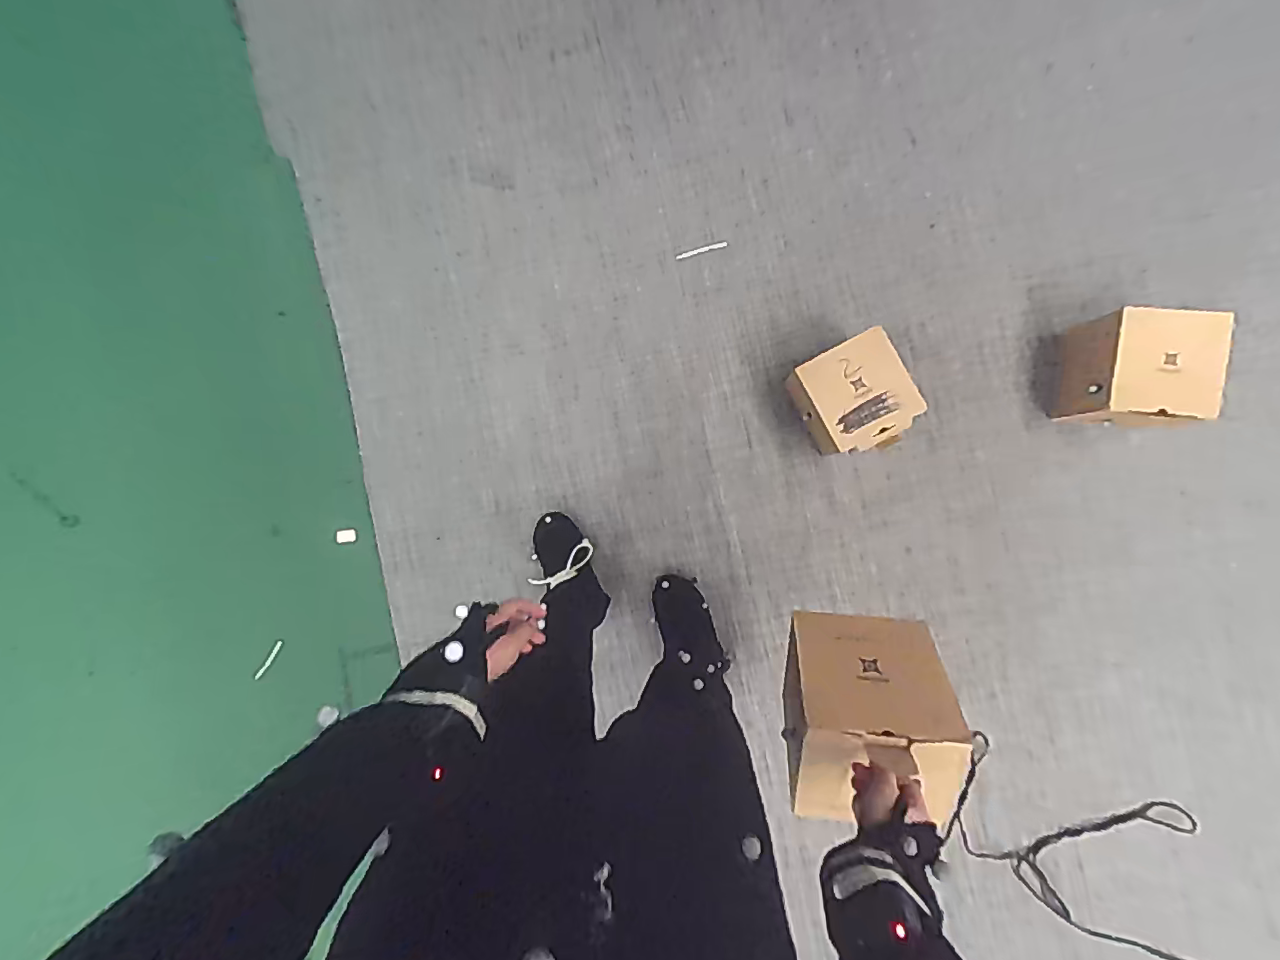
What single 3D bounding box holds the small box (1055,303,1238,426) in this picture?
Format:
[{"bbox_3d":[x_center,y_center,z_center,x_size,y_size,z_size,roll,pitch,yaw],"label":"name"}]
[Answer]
[{"bbox_3d":[0.879,-0.197,0.957,0.168,0.176,0.179,6,93,8],"label":"small box"}]
